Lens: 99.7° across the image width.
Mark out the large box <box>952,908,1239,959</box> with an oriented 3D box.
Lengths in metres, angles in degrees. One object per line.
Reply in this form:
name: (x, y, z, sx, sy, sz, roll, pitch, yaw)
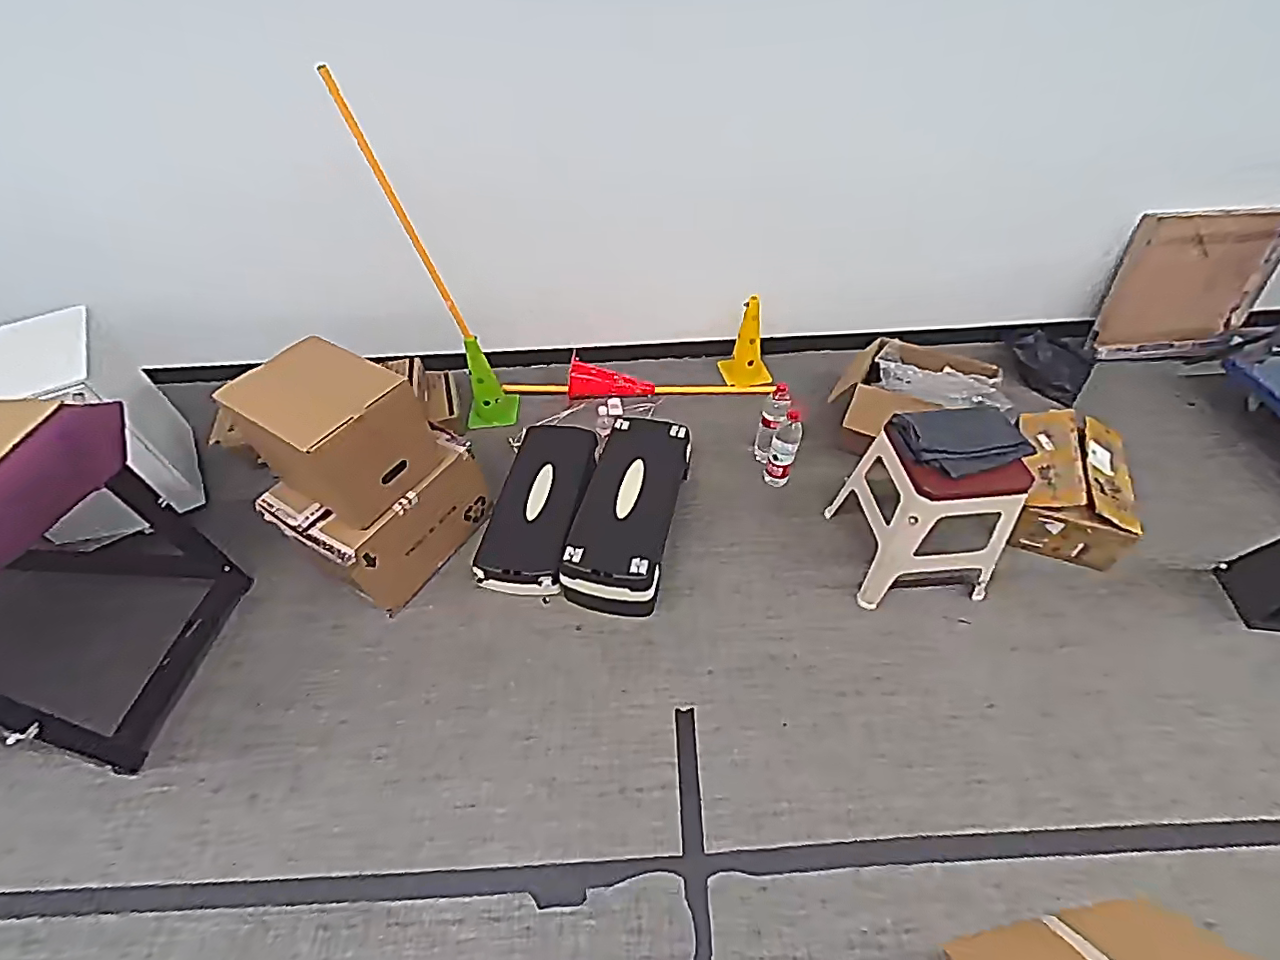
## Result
large box: (0.612, 0.742, 0.546, 0.320, 0.408, 0.320, -11, 79, -2)
